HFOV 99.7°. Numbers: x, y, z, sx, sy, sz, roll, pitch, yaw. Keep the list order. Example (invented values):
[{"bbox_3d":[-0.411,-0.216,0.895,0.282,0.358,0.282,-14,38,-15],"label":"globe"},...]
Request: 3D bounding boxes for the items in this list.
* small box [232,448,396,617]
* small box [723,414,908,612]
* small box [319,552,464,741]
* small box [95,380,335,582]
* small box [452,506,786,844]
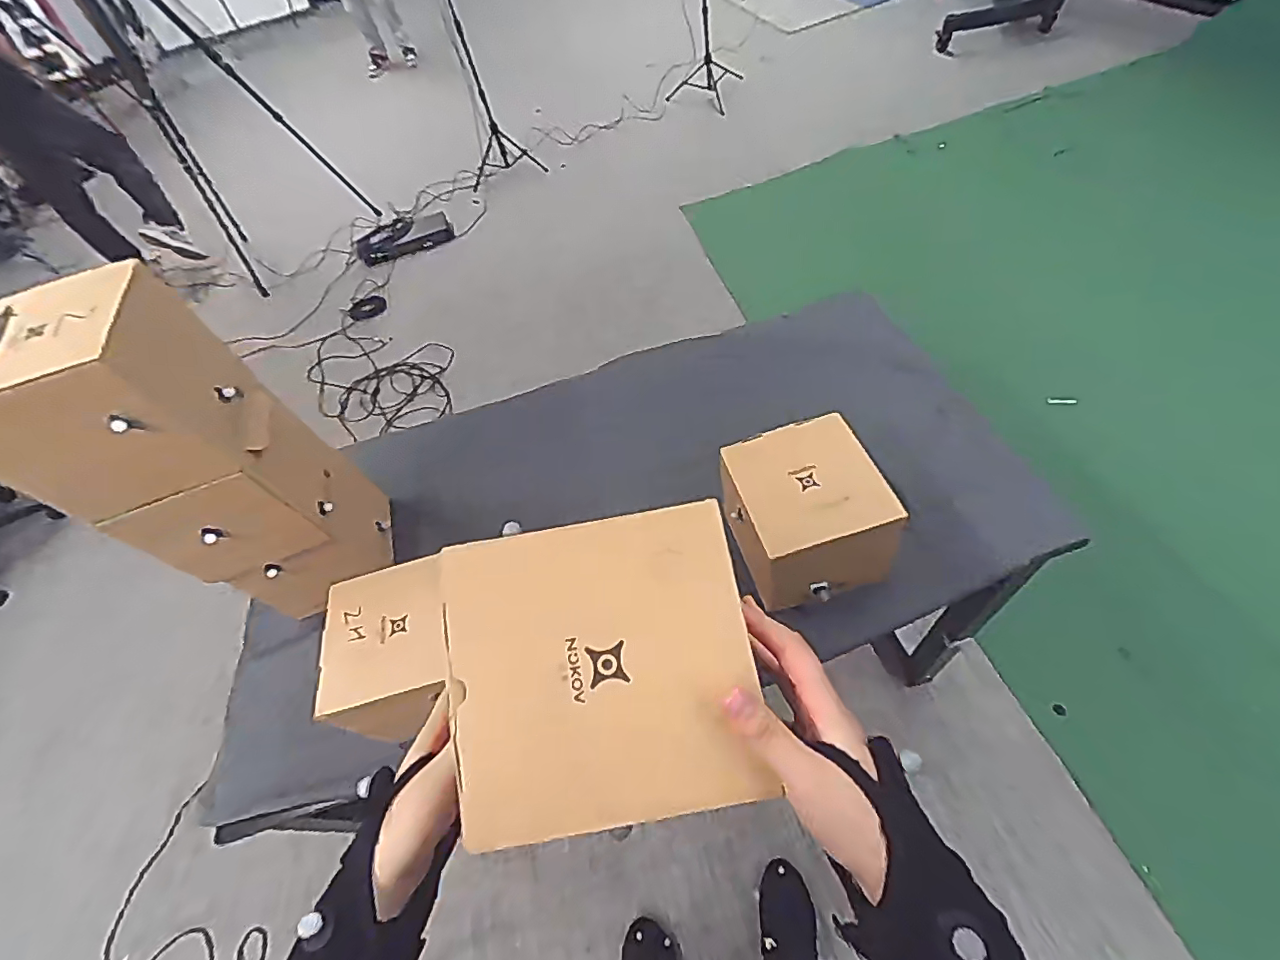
[{"bbox_3d":[-0.505,0.086,0.848,0.168,0.176,0.179,-21,55,-3],"label":"small box"},{"bbox_3d":[0.217,0.048,0.717,0.168,0.176,0.179,-18,53,0],"label":"small box"},{"bbox_3d":[-0.274,0.221,0.703,0.179,0.176,0.168,-17,54,1],"label":"small box"},{"bbox_3d":[-0.527,0.007,0.704,0.179,0.176,0.168,-21,56,-2],"label":"small box"},{"bbox_3d":[-0.014,0.126,0.388,0.179,0.176,0.168,-10,74,1],"label":"small box"}]
